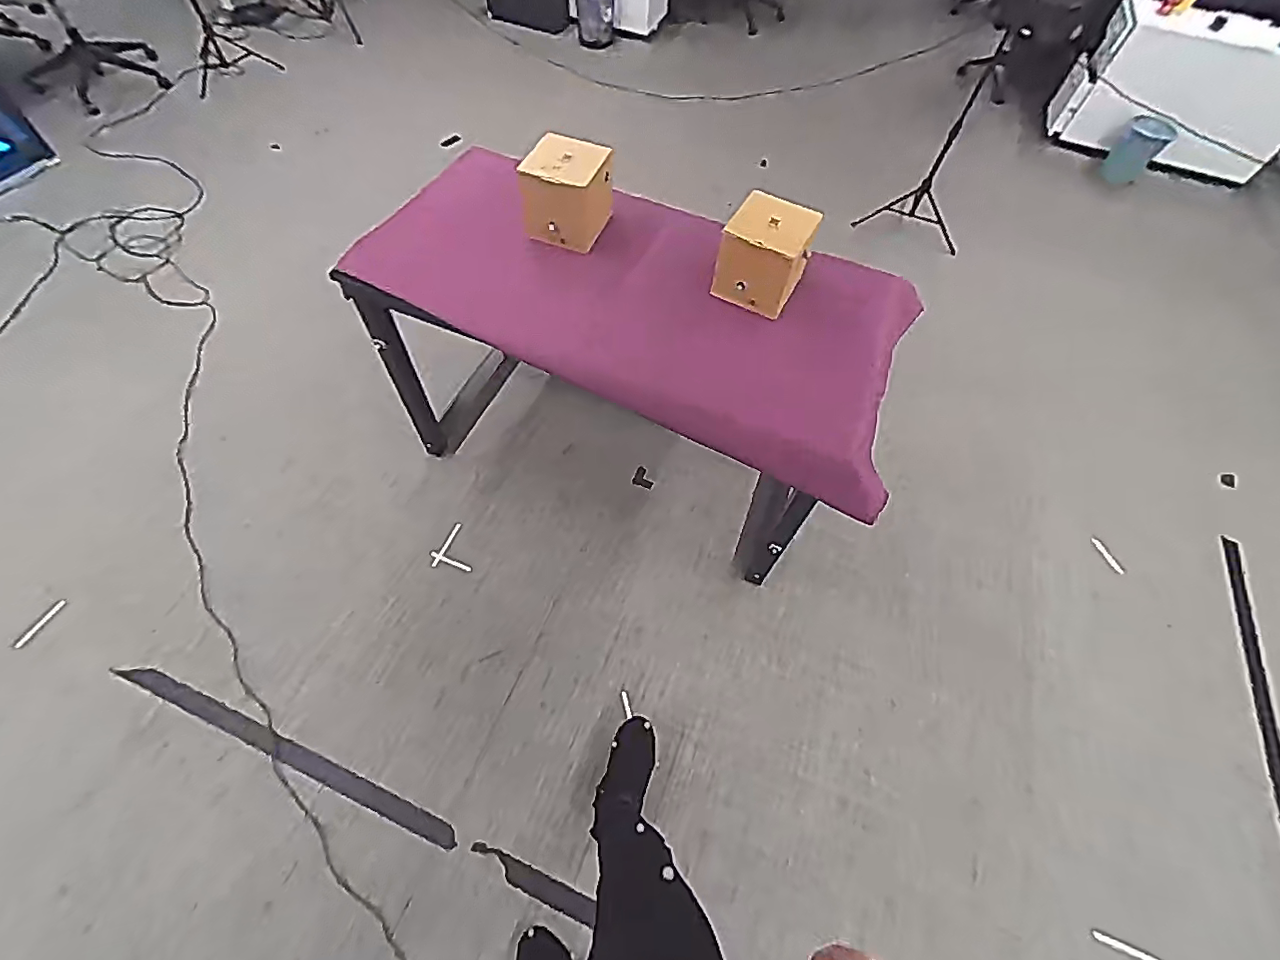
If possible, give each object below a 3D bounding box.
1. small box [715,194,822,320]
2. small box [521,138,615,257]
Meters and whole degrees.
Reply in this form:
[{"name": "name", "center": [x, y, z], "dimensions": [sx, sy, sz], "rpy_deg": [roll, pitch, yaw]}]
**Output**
[{"name": "small box", "center": [0.282, -0.500, 1.220], "dimensions": [0.168, 0.176, 0.179], "rpy_deg": [26, 62, 13]}, {"name": "small box", "center": [-0.168, -0.674, 1.295], "dimensions": [0.168, 0.176, 0.179], "rpy_deg": [18, 60, 7]}]
